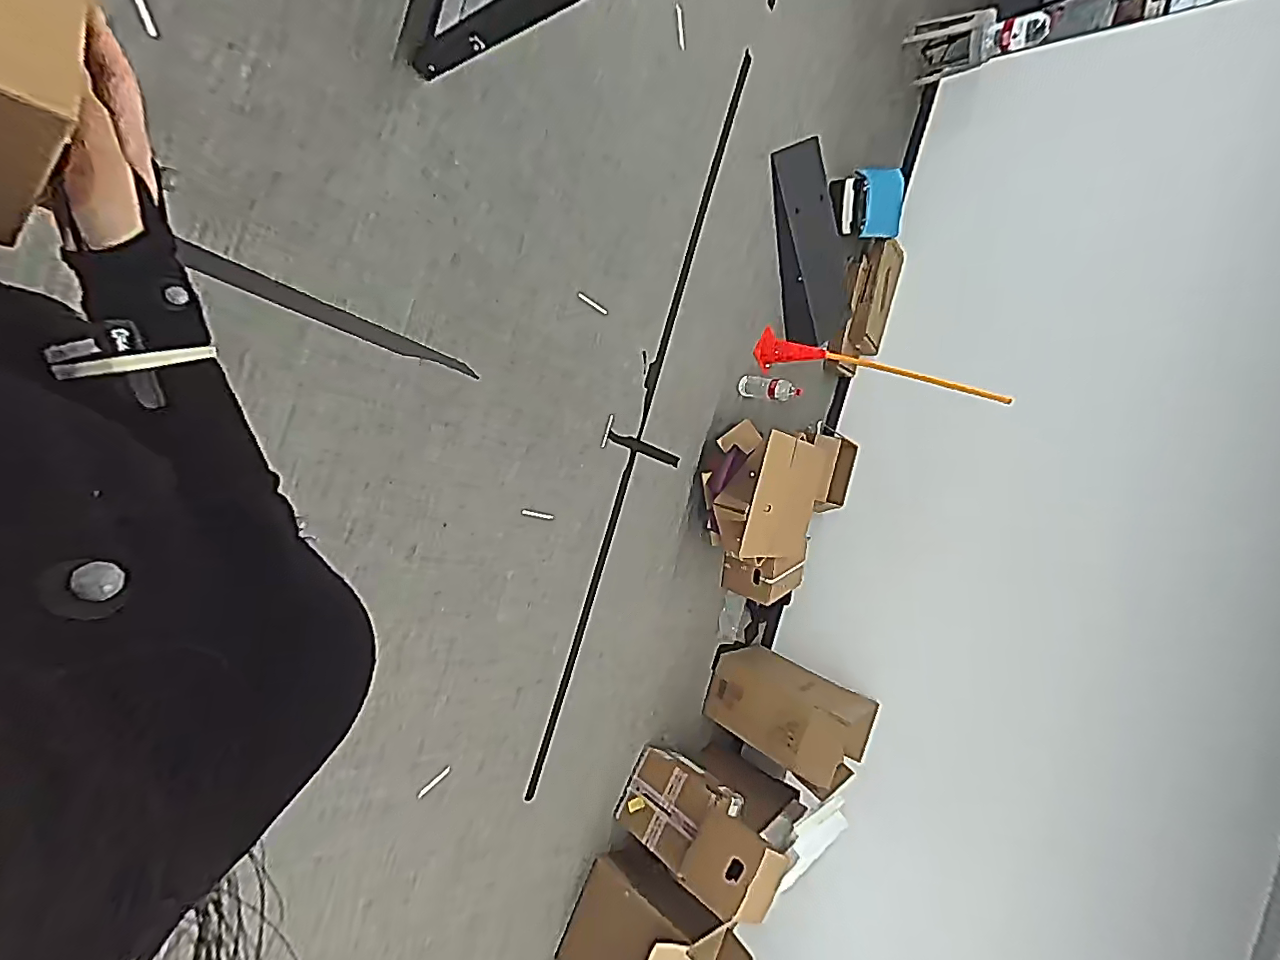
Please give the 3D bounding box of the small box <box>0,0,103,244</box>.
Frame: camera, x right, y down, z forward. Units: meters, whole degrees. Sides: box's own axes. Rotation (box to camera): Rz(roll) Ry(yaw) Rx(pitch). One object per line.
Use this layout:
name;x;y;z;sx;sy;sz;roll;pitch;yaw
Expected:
small box;-0.384;-0.248;0.251;0.168;0.176;0.179;7;77;-55
